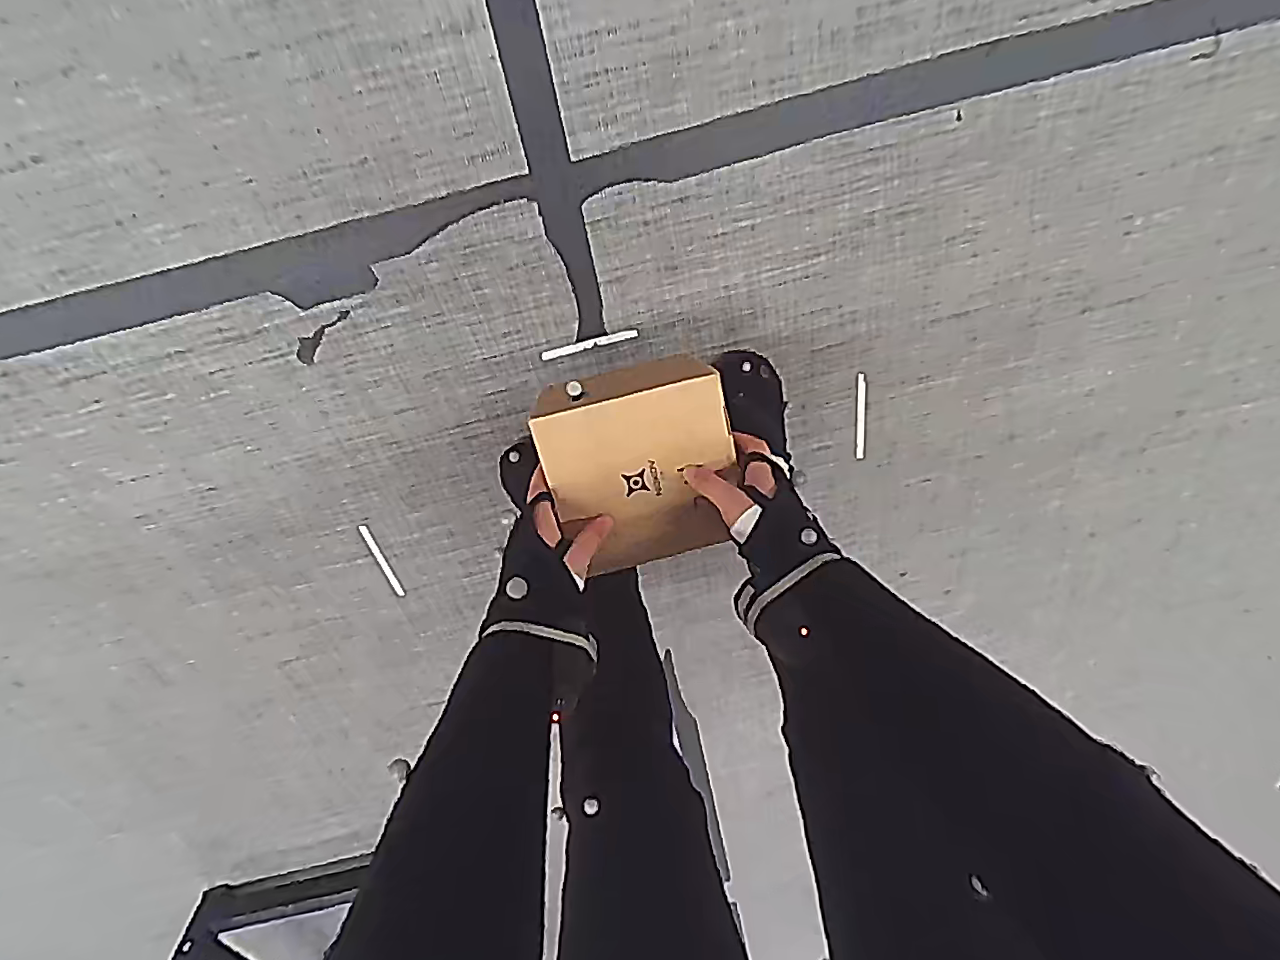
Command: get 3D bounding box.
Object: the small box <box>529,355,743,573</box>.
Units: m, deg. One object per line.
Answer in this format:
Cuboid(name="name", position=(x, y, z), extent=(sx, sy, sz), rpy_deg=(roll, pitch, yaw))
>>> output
Cuboid(name="small box", position=(-0.006, -0.028, 0.579), extent=(0.179, 0.176, 0.168), rpy_deg=(-14, 111, -2))
